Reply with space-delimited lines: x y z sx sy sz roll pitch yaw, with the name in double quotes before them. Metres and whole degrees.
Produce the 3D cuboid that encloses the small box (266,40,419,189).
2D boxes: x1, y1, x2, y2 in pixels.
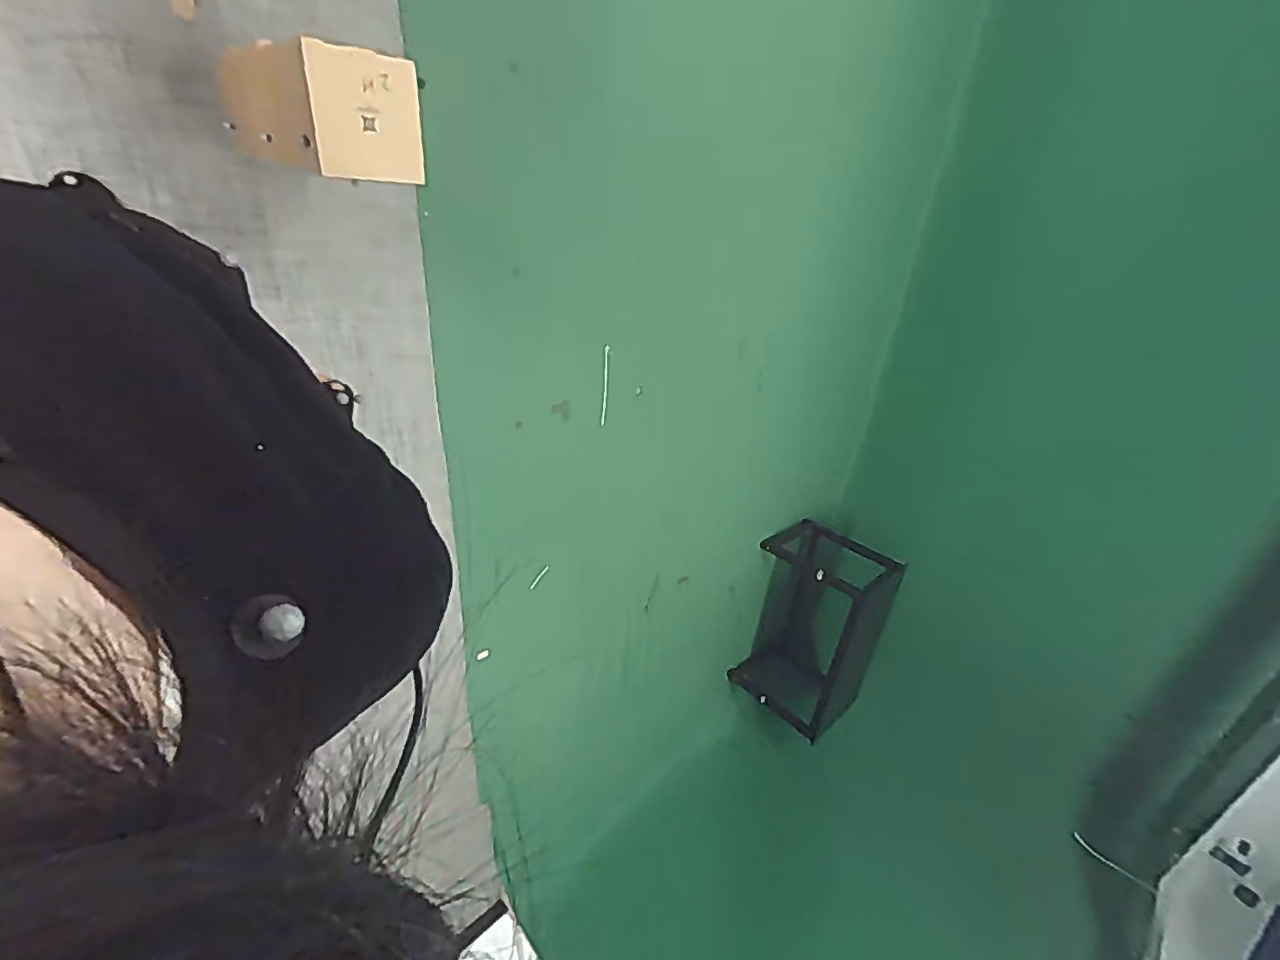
"small box" -0.486 -0.590 0.891 0.168 0.176 0.179 -21 128 -40
